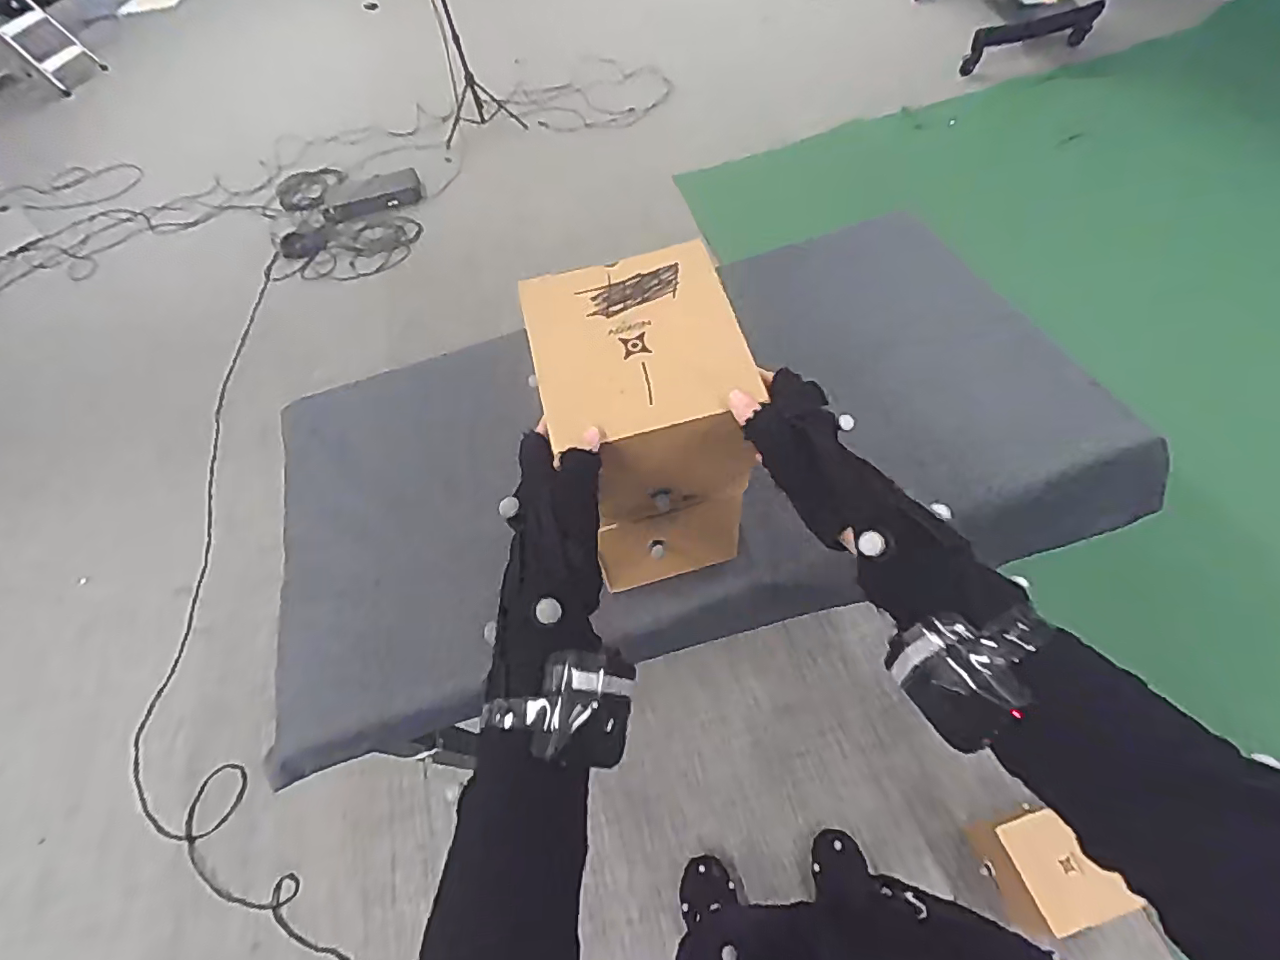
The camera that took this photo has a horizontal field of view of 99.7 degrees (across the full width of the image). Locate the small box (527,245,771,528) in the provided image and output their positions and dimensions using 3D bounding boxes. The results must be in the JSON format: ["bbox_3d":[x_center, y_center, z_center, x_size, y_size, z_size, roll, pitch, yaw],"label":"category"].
[{"bbox_3d":[0.004,-0.076,0.499,0.168,0.176,0.179,-13,66,-2],"label":"small box"}]

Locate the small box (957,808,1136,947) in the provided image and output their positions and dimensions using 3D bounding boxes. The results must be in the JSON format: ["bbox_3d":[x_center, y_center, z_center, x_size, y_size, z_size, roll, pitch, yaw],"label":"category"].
[{"bbox_3d":[0.743,0.733,1.014,0.179,0.176,0.168,-18,56,-2],"label":"small box"}]

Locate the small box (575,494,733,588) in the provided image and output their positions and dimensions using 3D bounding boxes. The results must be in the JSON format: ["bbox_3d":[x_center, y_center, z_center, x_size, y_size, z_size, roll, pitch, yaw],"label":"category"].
[{"bbox_3d":[0.015,0.018,0.691,0.179,0.176,0.168,-15,56,-2],"label":"small box"}]
